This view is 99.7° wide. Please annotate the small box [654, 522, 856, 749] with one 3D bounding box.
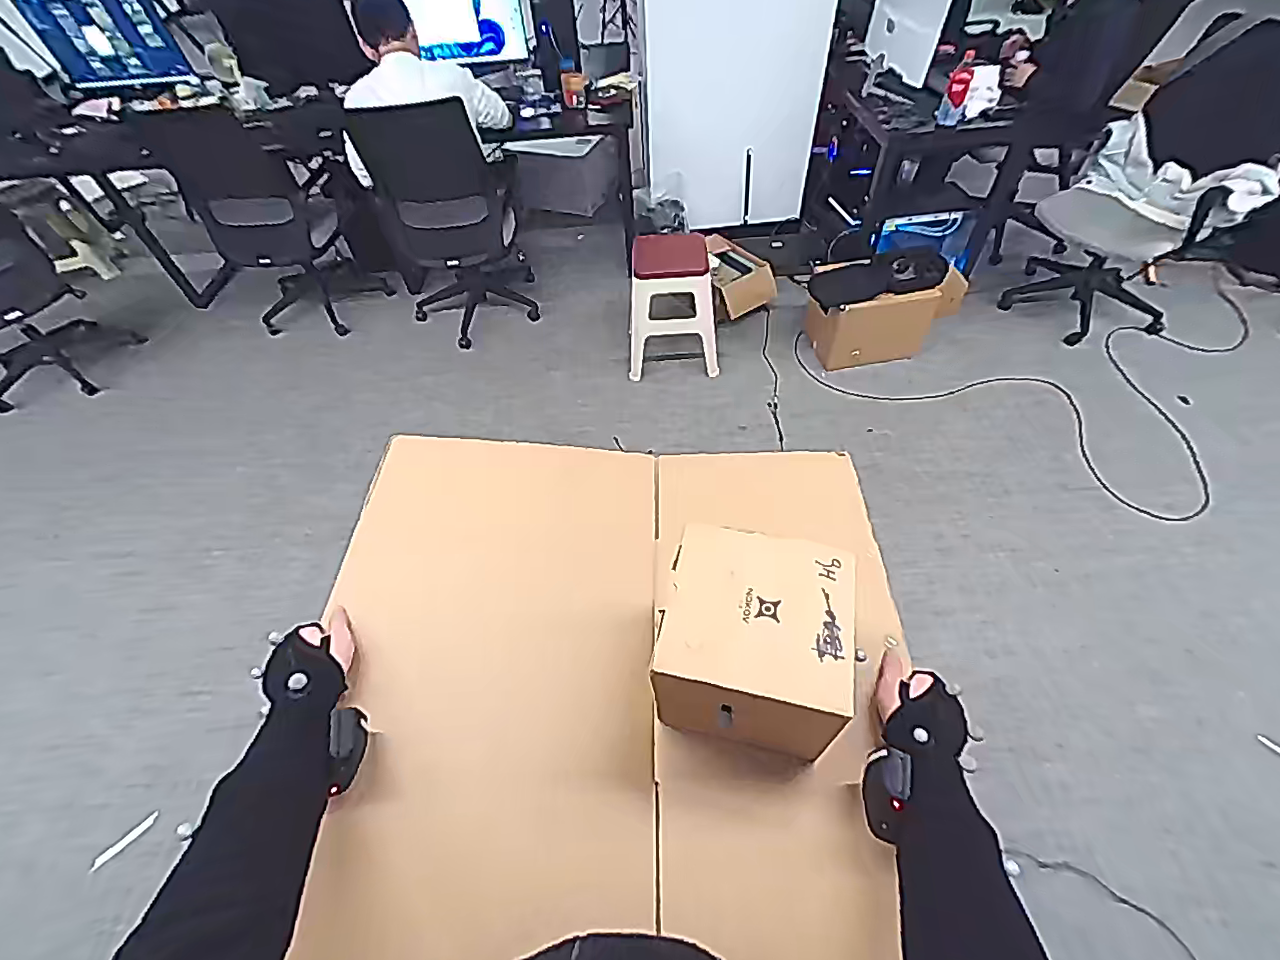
[{"bbox_3d":[0.123,0.170,0.581,0.179,0.176,0.168,9,53,13],"label":"small box"}]
